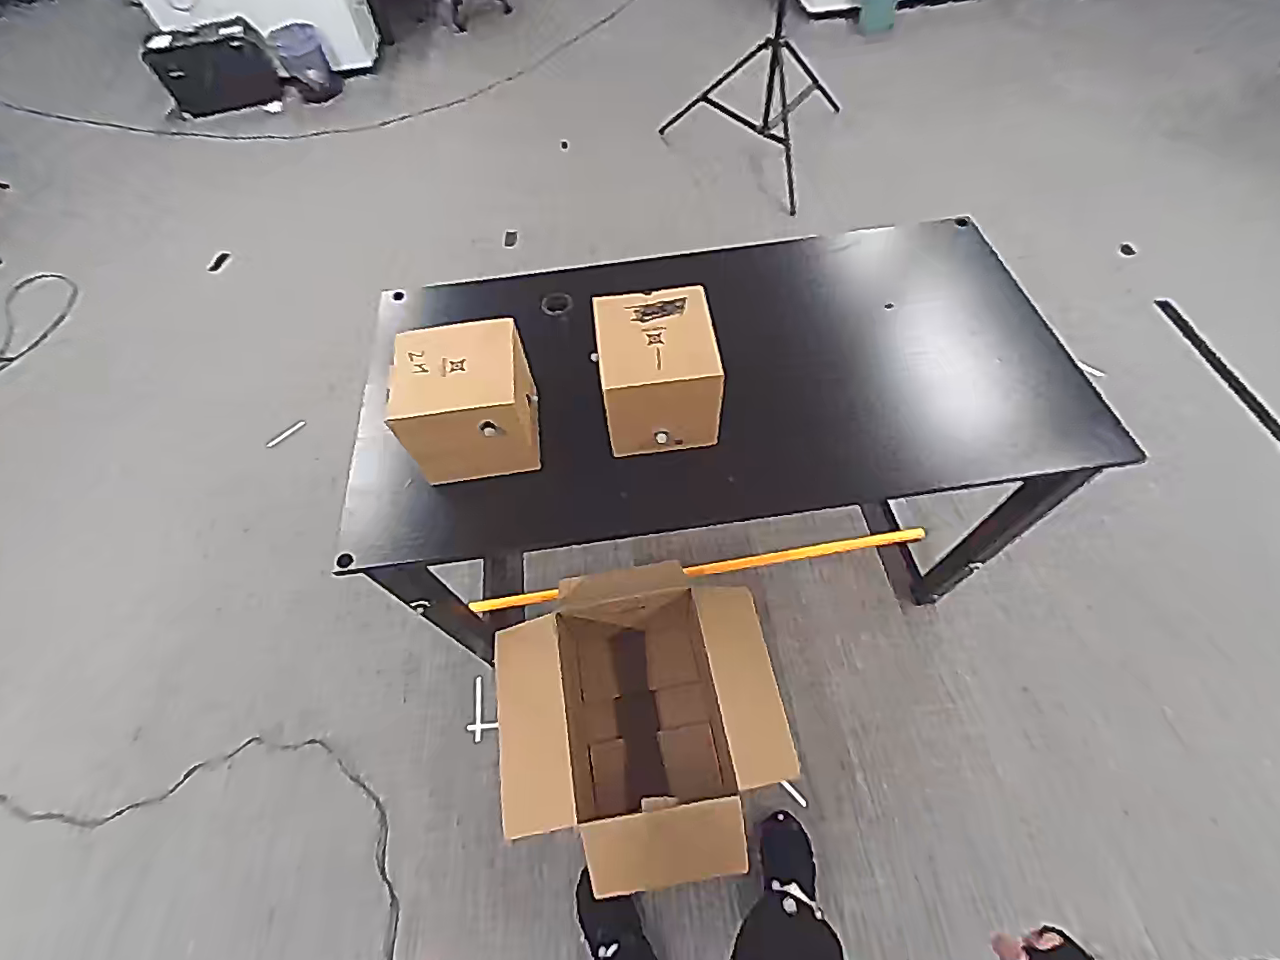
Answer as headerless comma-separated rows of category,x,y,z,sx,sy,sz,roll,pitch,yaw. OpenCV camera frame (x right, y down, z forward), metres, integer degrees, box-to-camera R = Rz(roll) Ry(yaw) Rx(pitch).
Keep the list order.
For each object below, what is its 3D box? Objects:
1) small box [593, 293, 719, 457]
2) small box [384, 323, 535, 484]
small box,0.021,-0.158,0.837,0.168,0.176,0.179,-7,59,0
small box,-0.260,-0.112,0.826,0.179,0.176,0.168,-9,58,-2
